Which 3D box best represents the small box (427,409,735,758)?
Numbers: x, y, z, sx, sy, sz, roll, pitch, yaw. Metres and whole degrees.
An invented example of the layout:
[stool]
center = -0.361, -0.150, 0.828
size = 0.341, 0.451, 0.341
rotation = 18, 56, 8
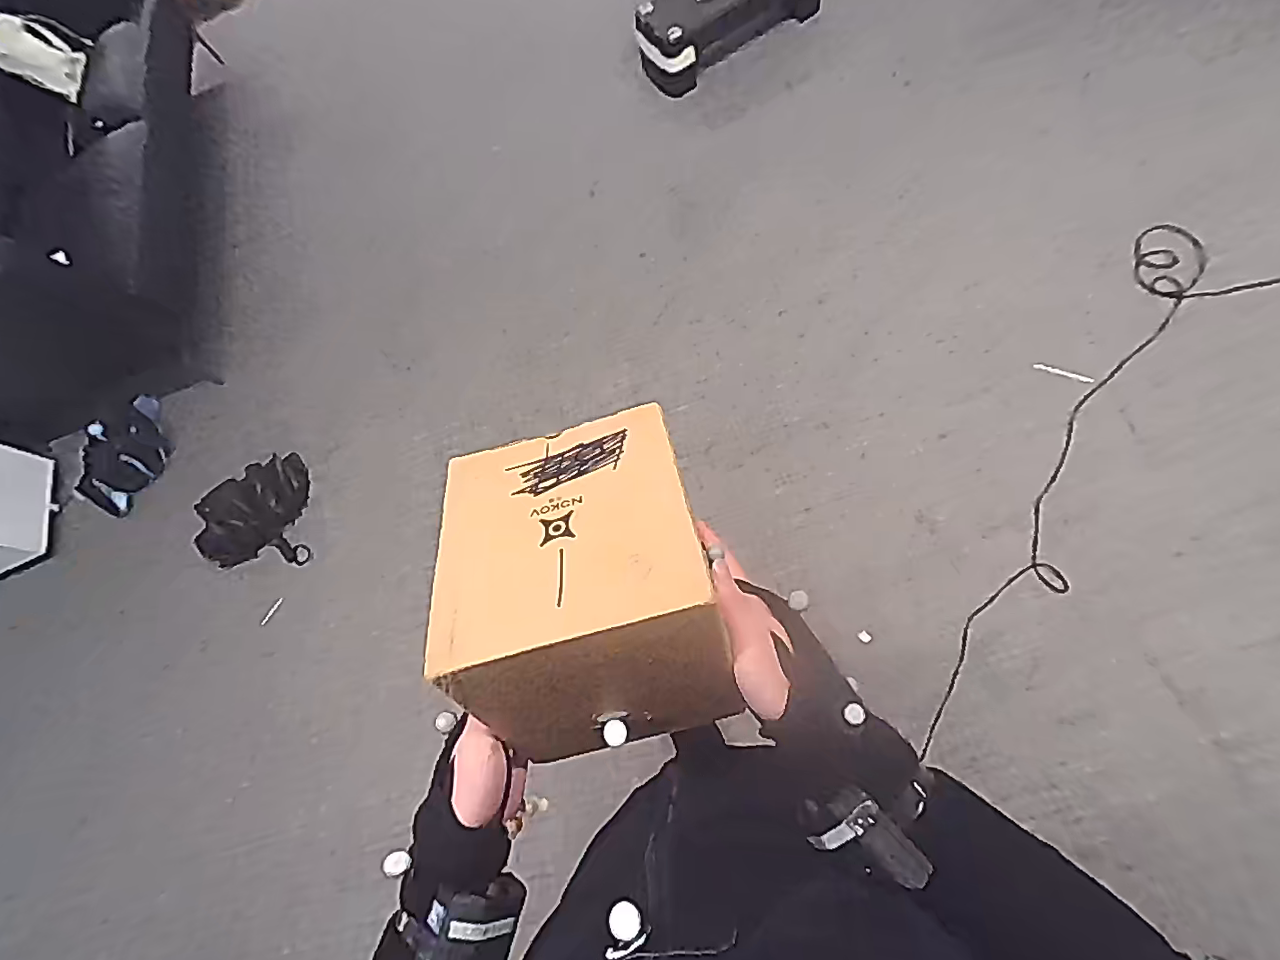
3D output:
[small box]
center = -0.033, 0.079, 0.408
size = 0.168, 0.176, 0.179
rotation = -15, 46, 4
